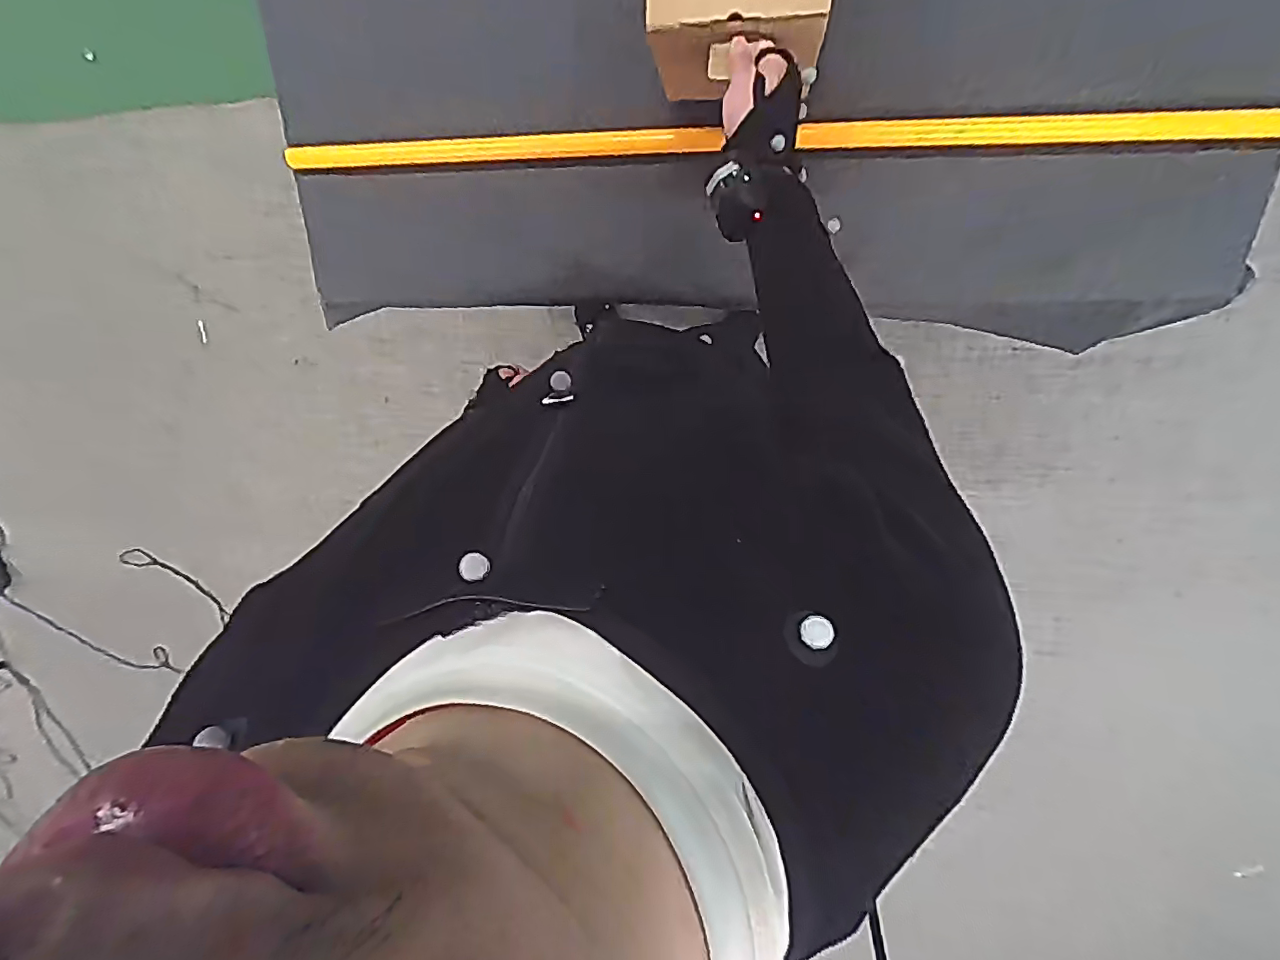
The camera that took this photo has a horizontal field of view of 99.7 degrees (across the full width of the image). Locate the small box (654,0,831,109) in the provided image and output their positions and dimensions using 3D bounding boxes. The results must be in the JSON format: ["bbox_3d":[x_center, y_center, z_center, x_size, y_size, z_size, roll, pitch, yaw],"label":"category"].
[{"bbox_3d":[0.111,-0.508,0.556,0.168,0.176,0.179,2,107,13],"label":"small box"}]
